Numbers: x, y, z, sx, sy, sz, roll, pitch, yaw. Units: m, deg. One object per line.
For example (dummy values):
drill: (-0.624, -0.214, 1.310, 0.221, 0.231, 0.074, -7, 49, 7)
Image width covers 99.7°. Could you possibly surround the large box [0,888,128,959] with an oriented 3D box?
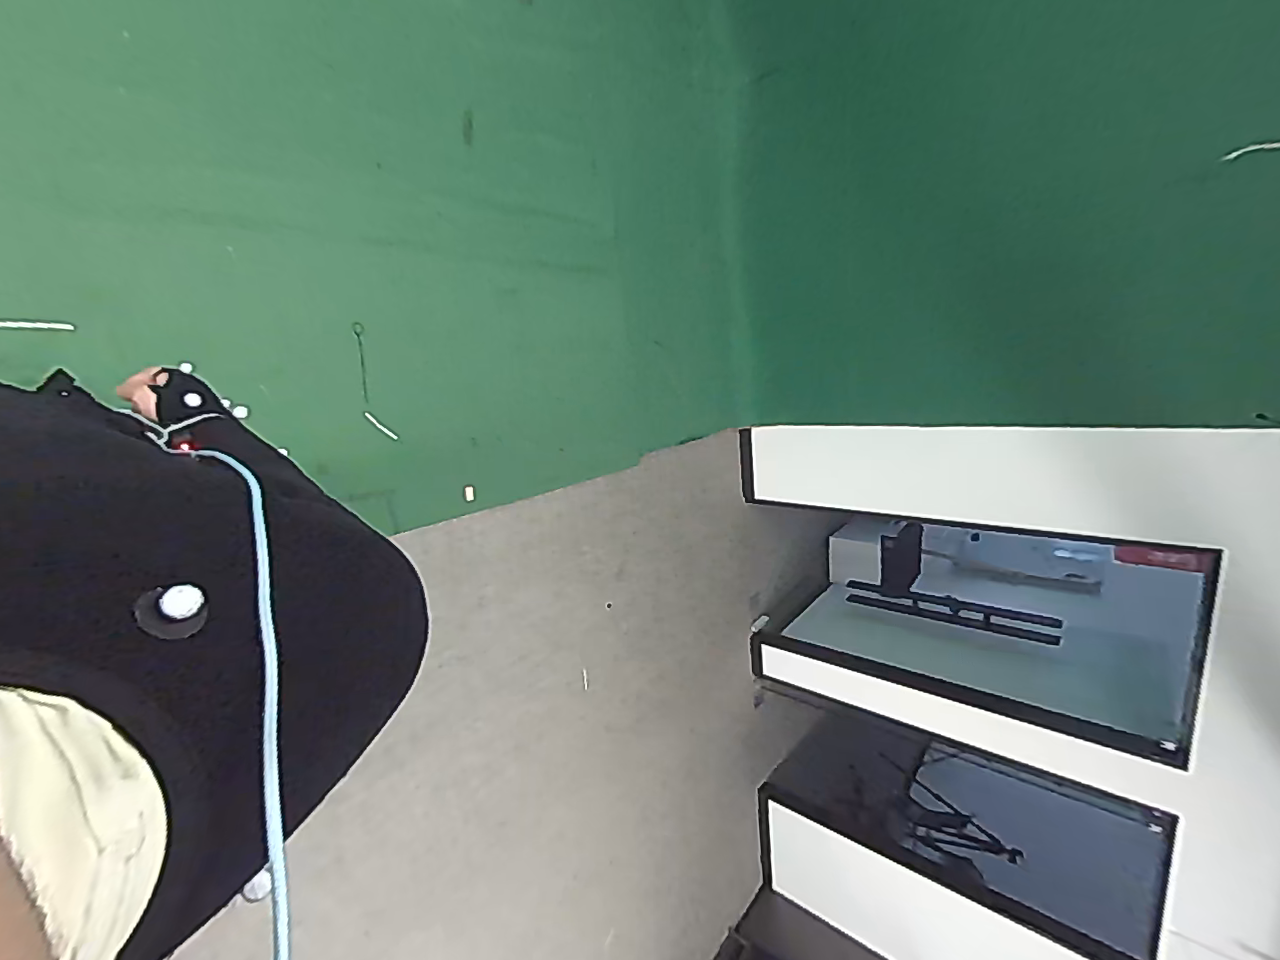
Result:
large box: (-1.258, 1.143, 1.047, 0.408, 0.320, 0.320, -20, 110, -47)
